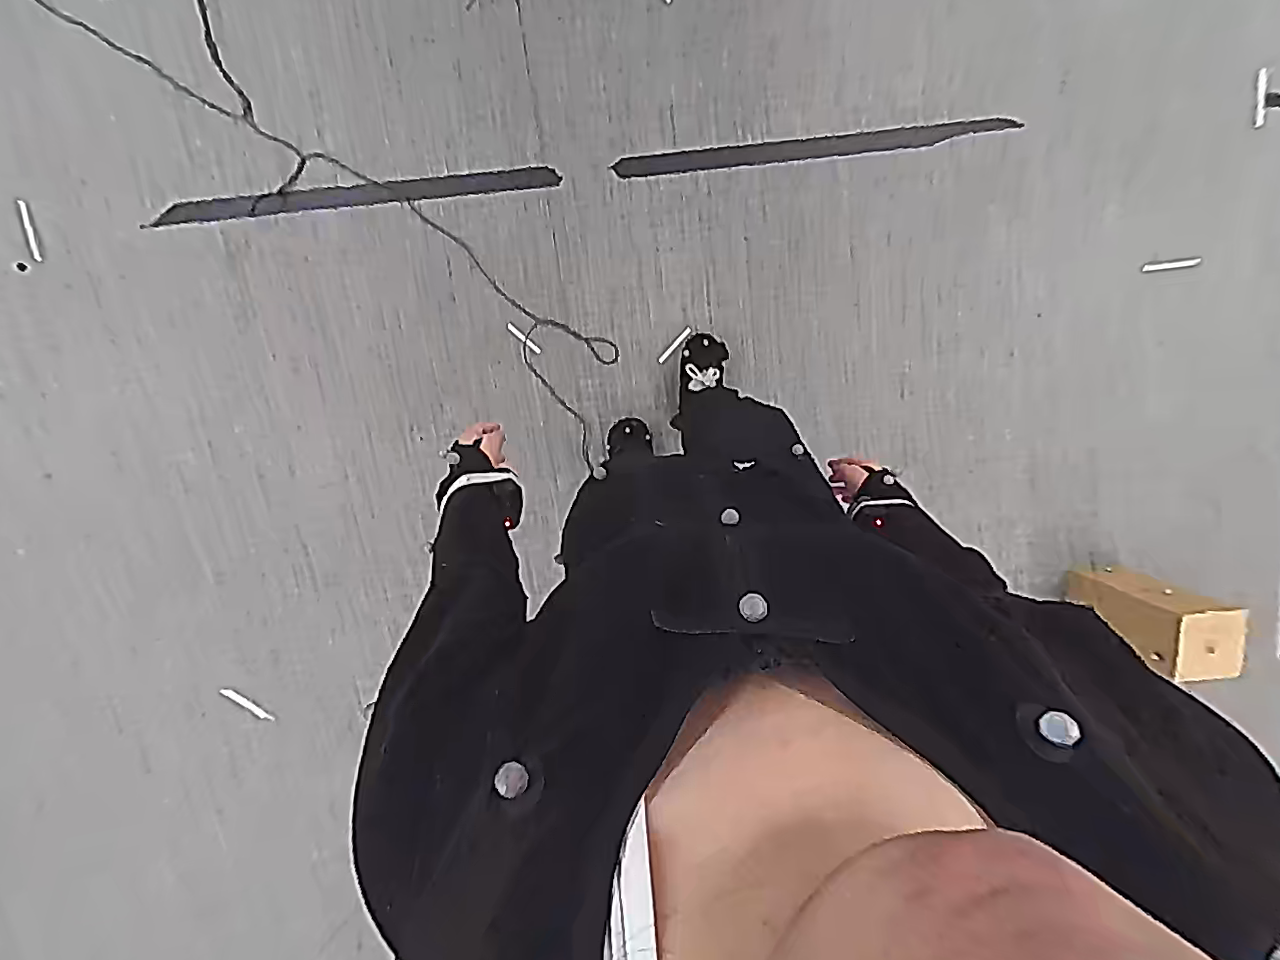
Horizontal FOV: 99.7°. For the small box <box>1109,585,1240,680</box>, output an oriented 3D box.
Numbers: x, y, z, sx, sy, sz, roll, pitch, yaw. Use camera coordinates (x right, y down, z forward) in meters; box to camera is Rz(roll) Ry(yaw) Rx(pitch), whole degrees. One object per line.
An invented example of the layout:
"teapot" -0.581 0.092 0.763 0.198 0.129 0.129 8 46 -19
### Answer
"small box" 1.344 0.382 1.374 0.168 0.176 0.179 -4 99 -3
